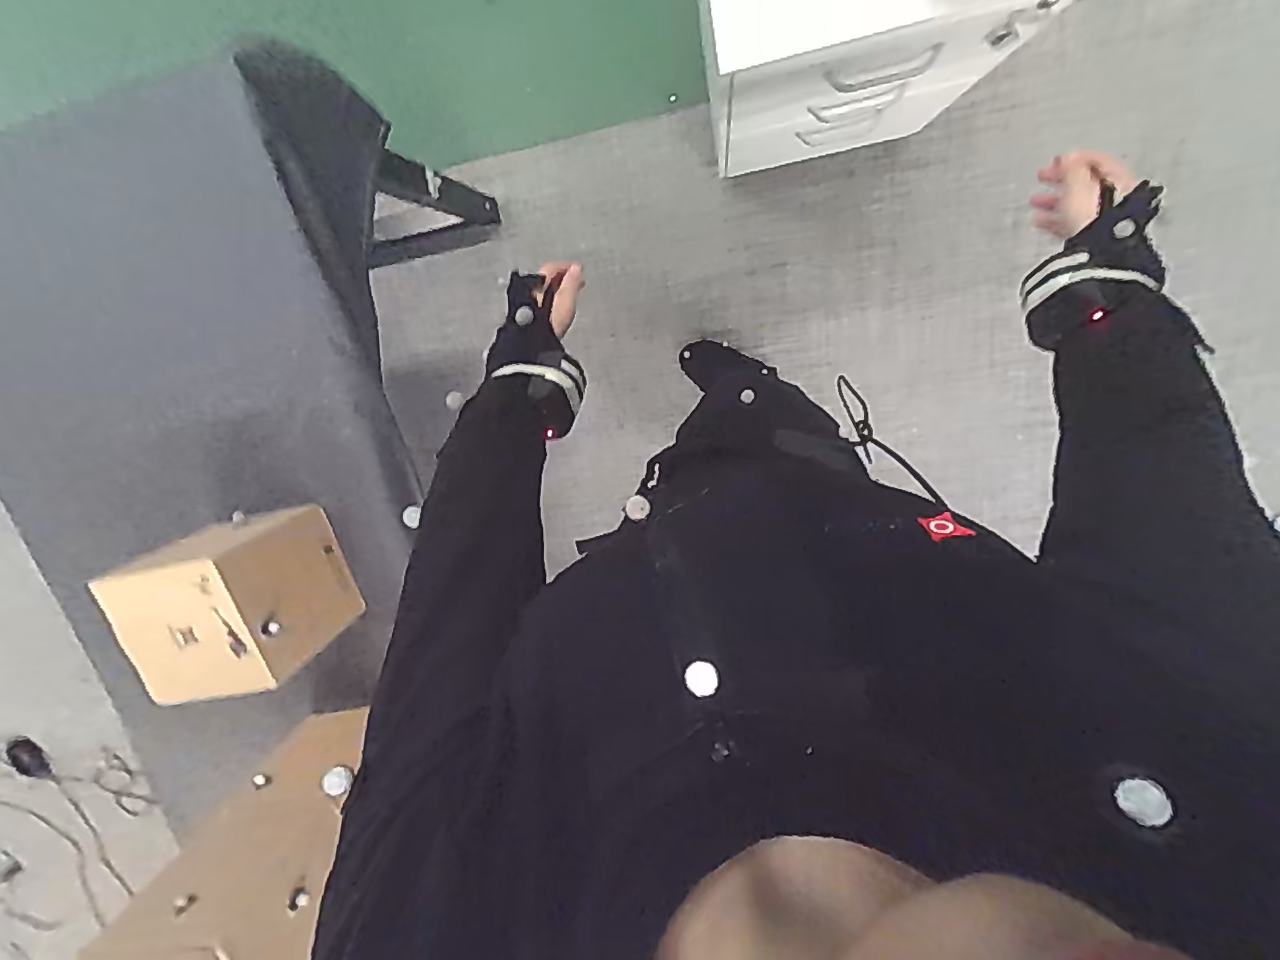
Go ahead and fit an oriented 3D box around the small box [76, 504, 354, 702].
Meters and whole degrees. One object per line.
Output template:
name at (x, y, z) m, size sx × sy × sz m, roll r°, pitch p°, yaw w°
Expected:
small box at (-0.501, 0.144, 0.666) m, size 0.179 × 0.176 × 0.168 m, roll -11°, pitch 107°, yaw 12°
